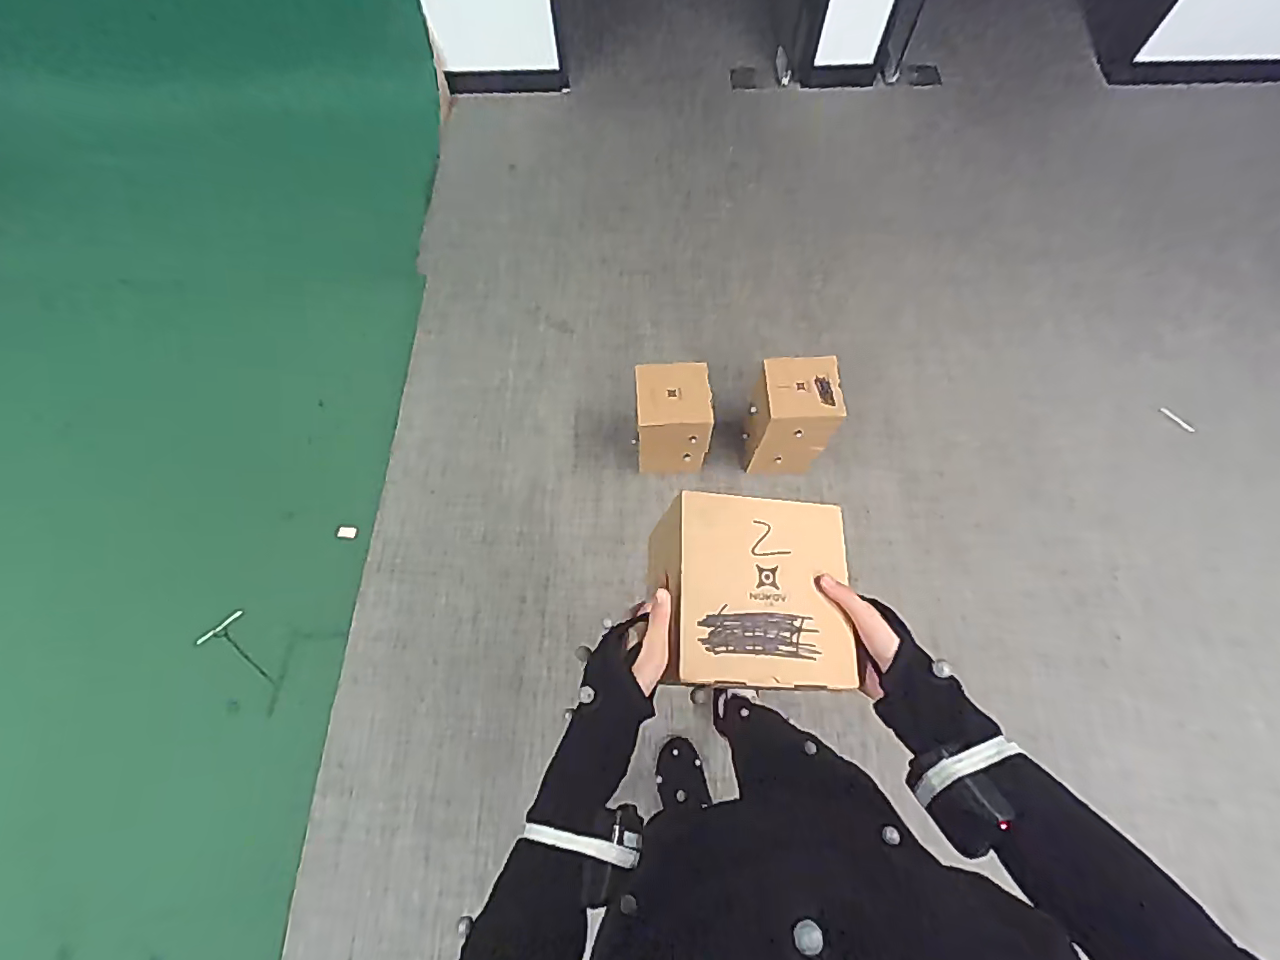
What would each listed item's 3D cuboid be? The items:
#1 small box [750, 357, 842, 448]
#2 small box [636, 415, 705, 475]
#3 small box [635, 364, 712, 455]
[{"bbox_3d":[0.381,-0.188,1.350,0.179,0.176,0.168,-2,67,2],"label":"small box"},{"bbox_3d":[0.081,-0.120,1.508,0.179,0.176,0.168,-3,68,1],"label":"small box"},{"bbox_3d":[0.080,-0.171,1.353,0.179,0.176,0.168,-3,68,1],"label":"small box"}]
